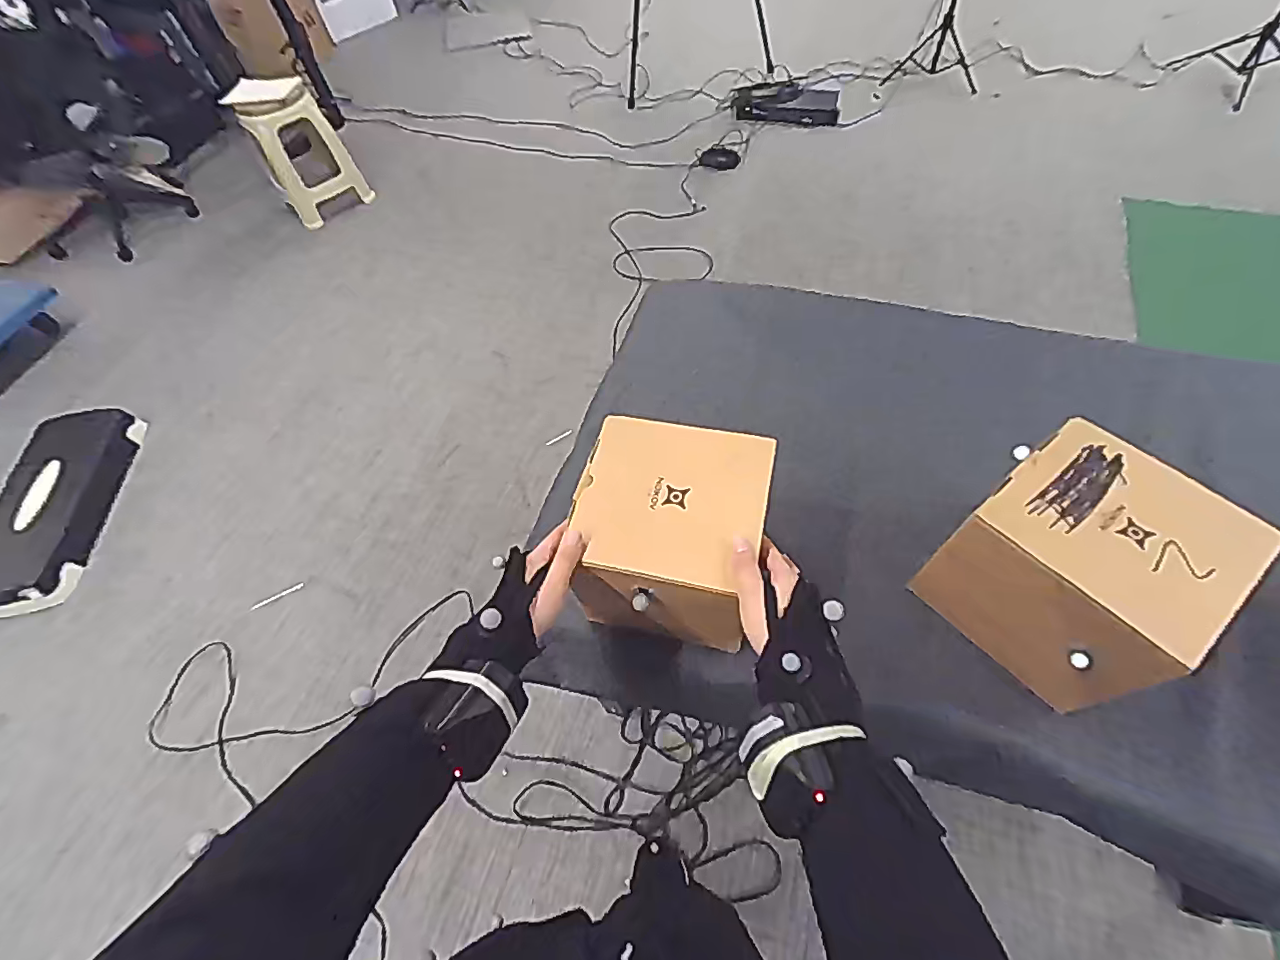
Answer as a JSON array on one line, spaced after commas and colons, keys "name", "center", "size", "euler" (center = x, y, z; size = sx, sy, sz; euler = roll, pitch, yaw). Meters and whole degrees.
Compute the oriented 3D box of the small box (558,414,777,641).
[{"name": "small box", "center": [0.039, 0.055, 0.563], "size": [0.179, 0.176, 0.168], "euler": [8, 58, 13]}]
